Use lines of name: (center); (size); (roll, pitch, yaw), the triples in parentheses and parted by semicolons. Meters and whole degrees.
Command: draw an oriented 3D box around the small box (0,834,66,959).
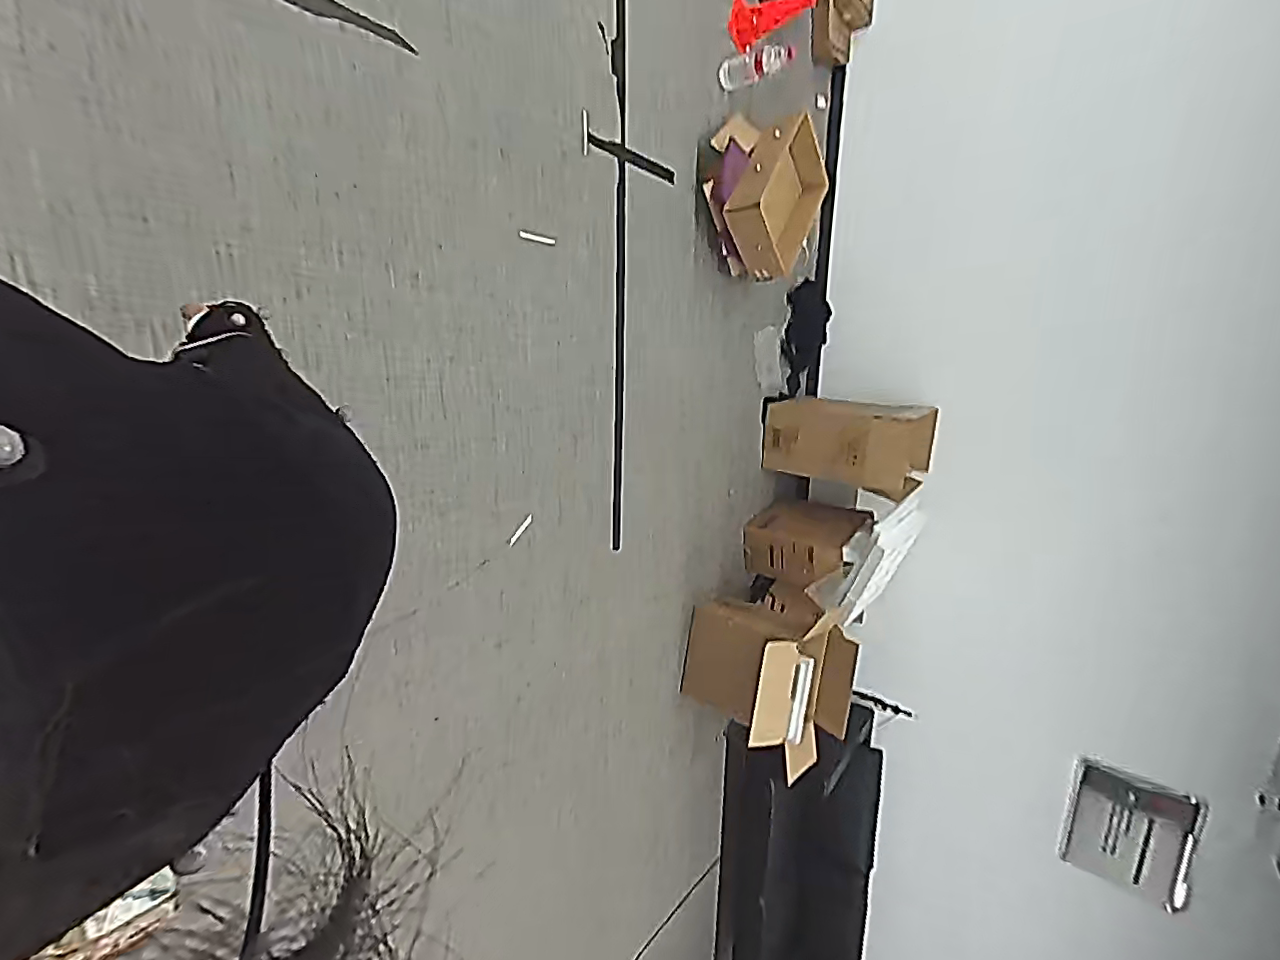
small box: (-0.834, 0.590, 0.661); (0.168, 0.176, 0.179); (-13, 105, -49)
